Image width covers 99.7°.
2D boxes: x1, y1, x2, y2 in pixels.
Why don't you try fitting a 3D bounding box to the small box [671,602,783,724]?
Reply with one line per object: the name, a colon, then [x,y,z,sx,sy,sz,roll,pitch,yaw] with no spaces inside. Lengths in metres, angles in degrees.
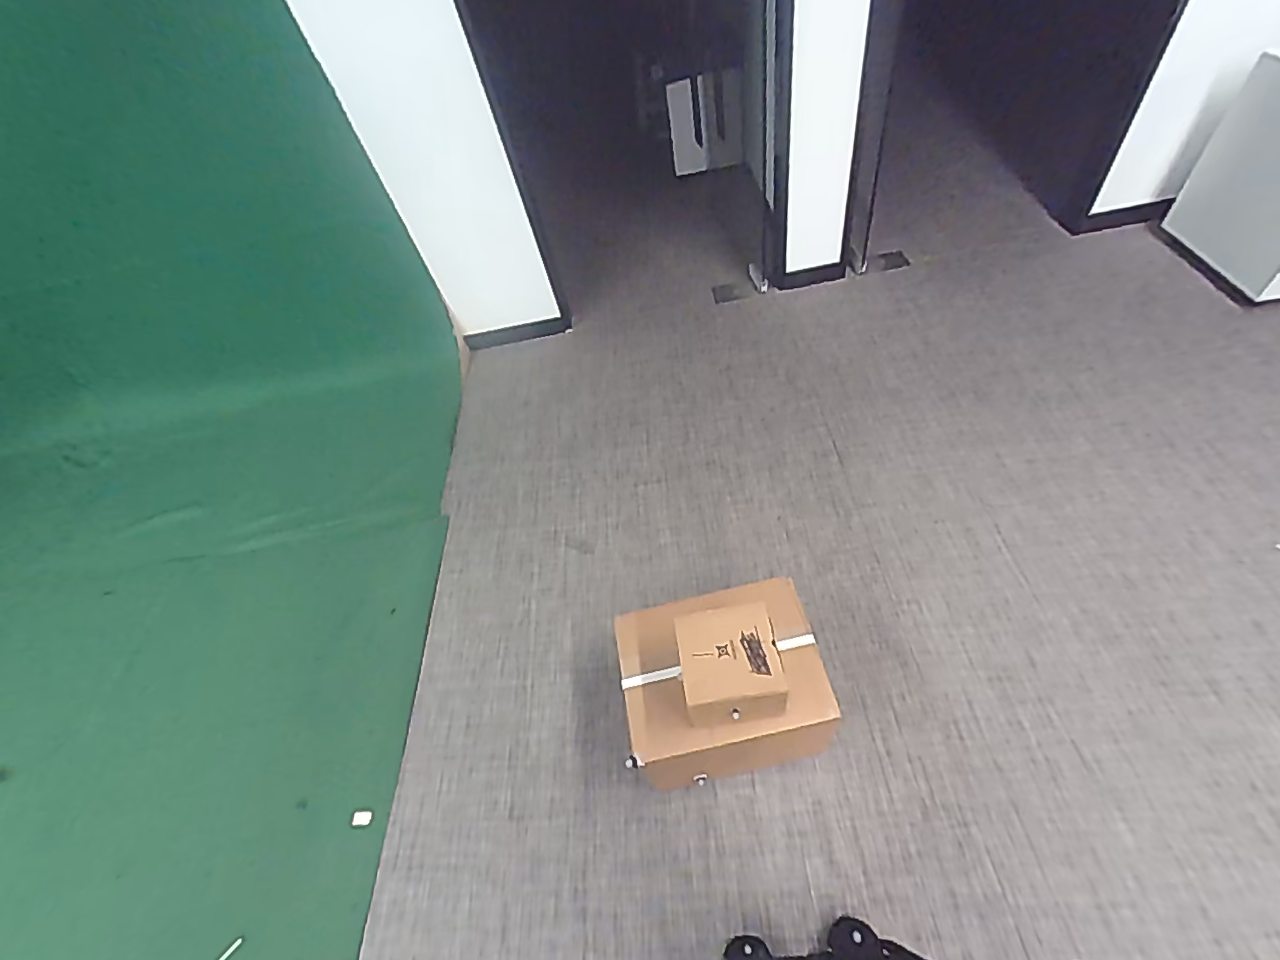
small box: [0.164,0.353,1.033,0.179,0.176,0.168,-11,51,5]
